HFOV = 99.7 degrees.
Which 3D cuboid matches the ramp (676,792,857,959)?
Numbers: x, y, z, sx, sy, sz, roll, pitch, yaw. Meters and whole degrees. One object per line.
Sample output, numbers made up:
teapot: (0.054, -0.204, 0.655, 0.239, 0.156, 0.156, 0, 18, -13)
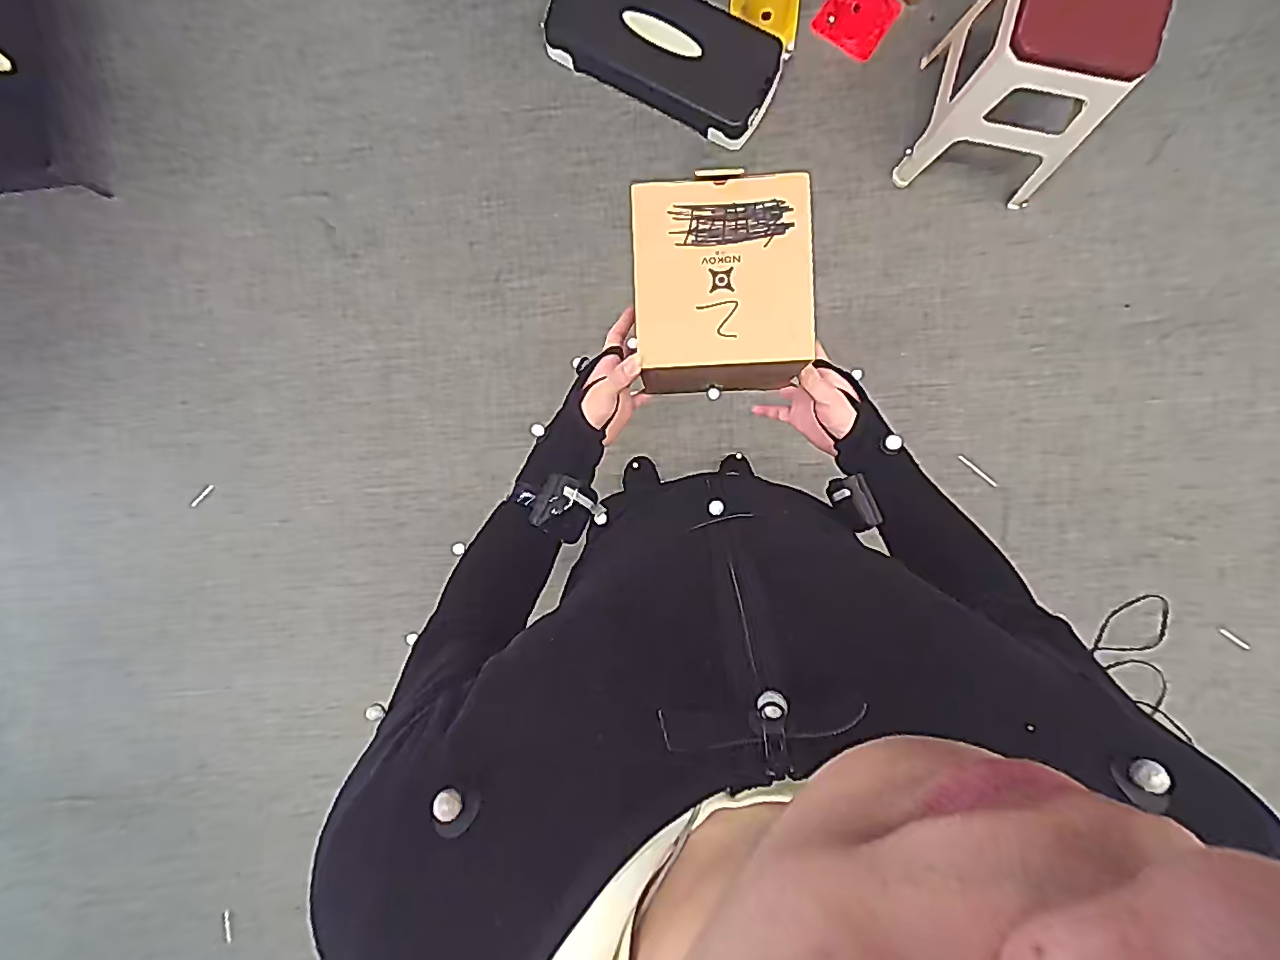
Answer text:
ramp: (0.383, 1.448, 1.563, 0.509, 0.206, 0.991, -6, 91, 5)
